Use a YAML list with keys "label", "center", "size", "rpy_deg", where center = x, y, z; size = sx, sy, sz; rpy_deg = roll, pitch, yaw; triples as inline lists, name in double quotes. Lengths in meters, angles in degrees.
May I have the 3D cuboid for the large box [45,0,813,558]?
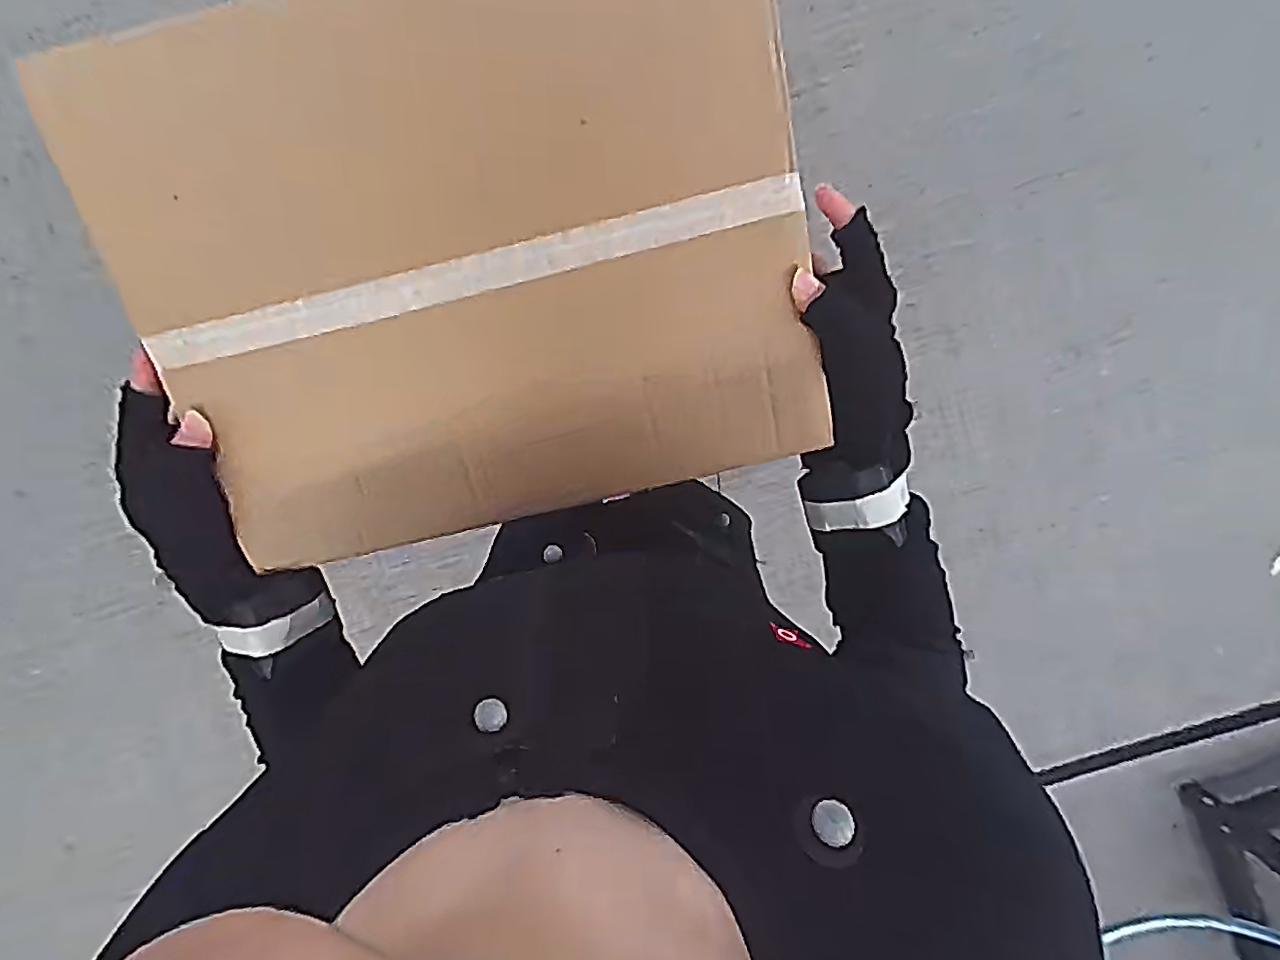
- label: "large box"
  center: [-0.110, -0.175, 0.477]
  size: [0.408, 0.320, 0.320]
  rpy_deg: [-13, 106, 2]
